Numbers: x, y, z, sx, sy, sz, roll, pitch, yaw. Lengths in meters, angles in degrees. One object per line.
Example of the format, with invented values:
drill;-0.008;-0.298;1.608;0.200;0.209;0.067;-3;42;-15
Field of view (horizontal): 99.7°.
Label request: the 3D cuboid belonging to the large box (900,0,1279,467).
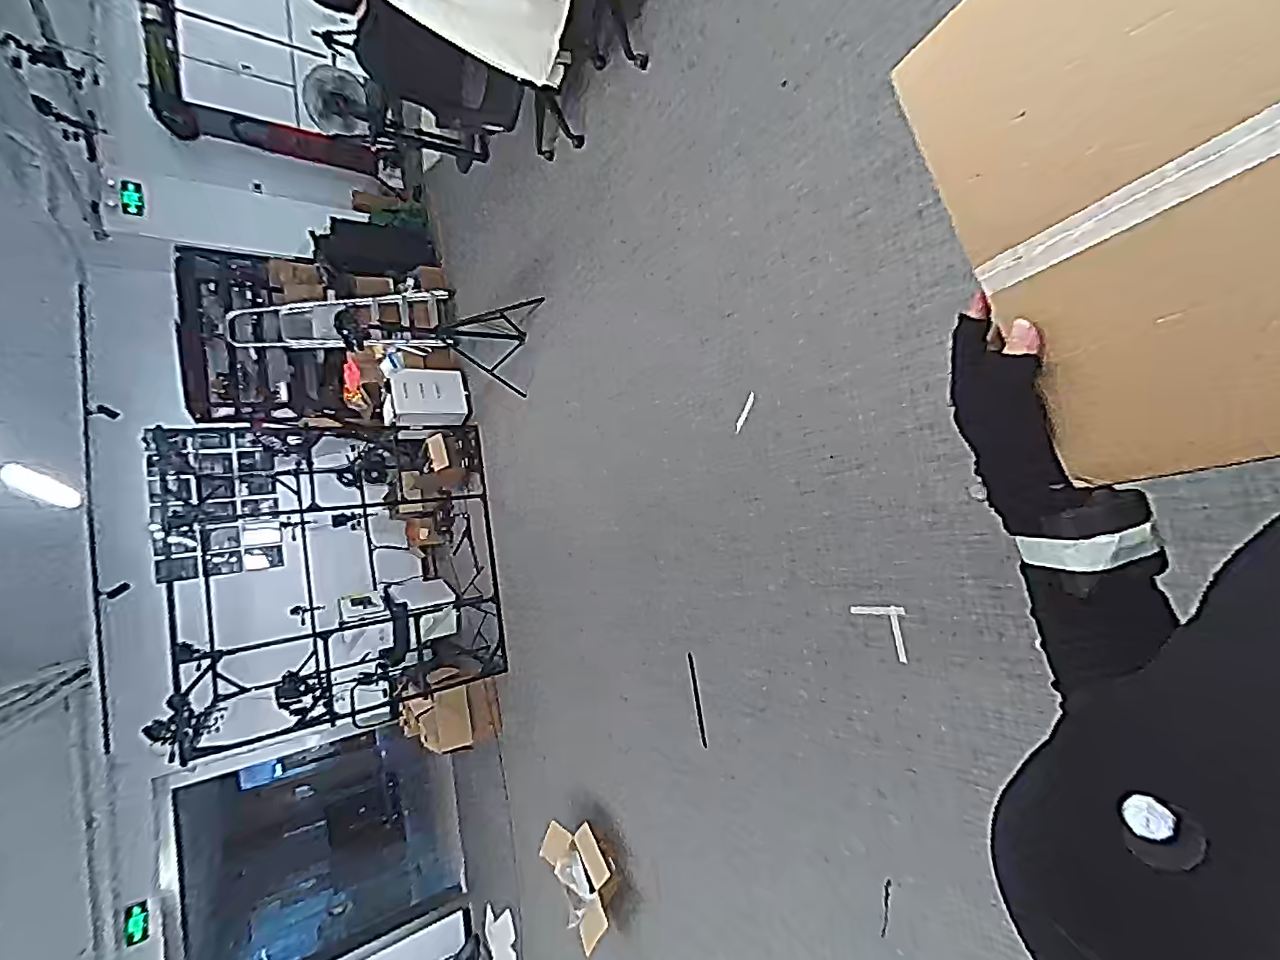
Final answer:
large box;0.448;-0.242;0.280;0.408;0.320;0.320;-24;88;59
